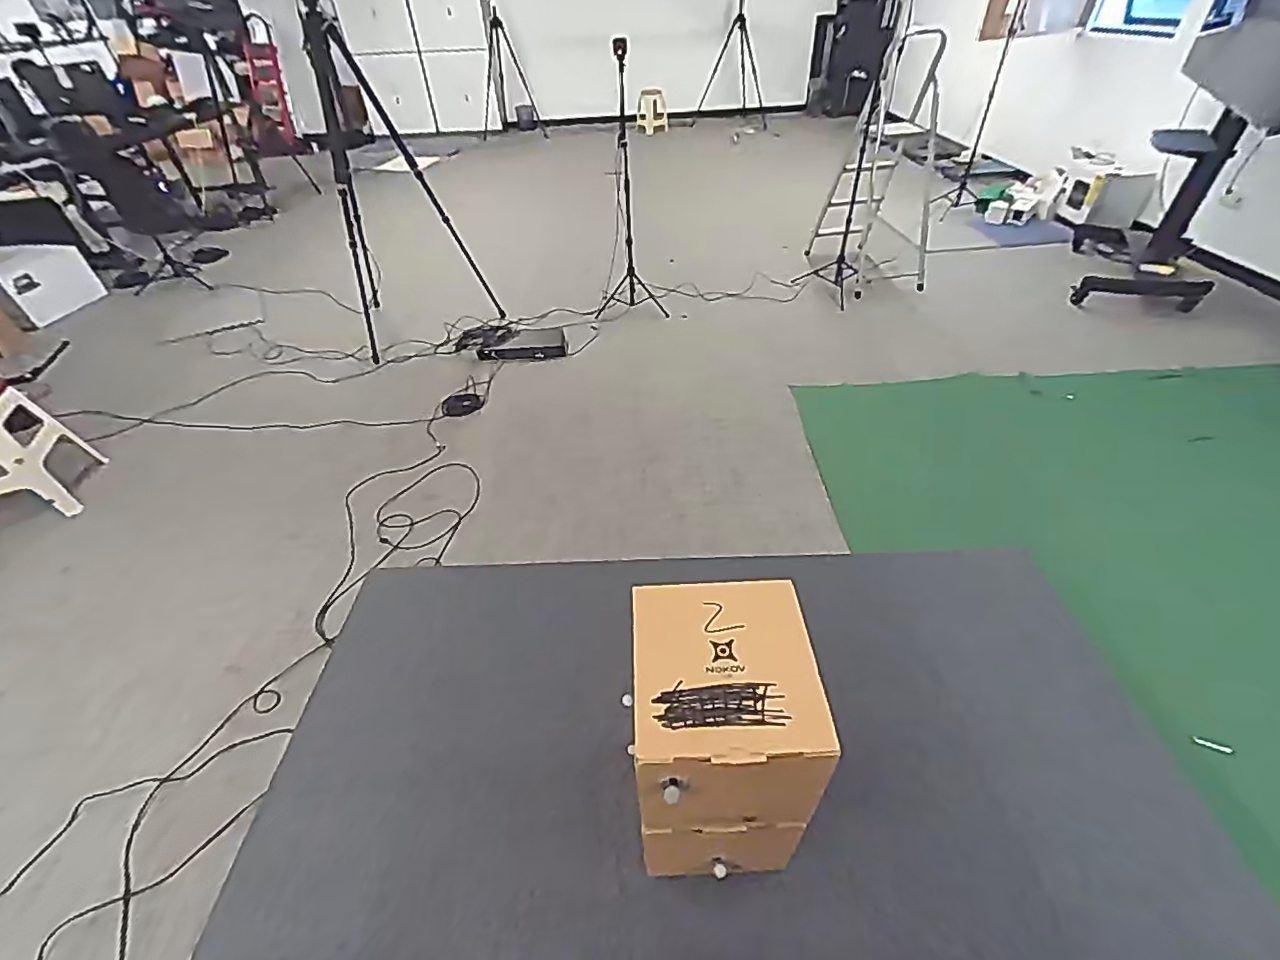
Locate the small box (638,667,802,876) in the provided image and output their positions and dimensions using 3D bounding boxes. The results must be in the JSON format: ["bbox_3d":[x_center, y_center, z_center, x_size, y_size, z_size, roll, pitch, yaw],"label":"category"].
[{"bbox_3d":[0.081,0.351,0.656,0.168,0.176,0.179,-3,42,0],"label":"small box"}]
